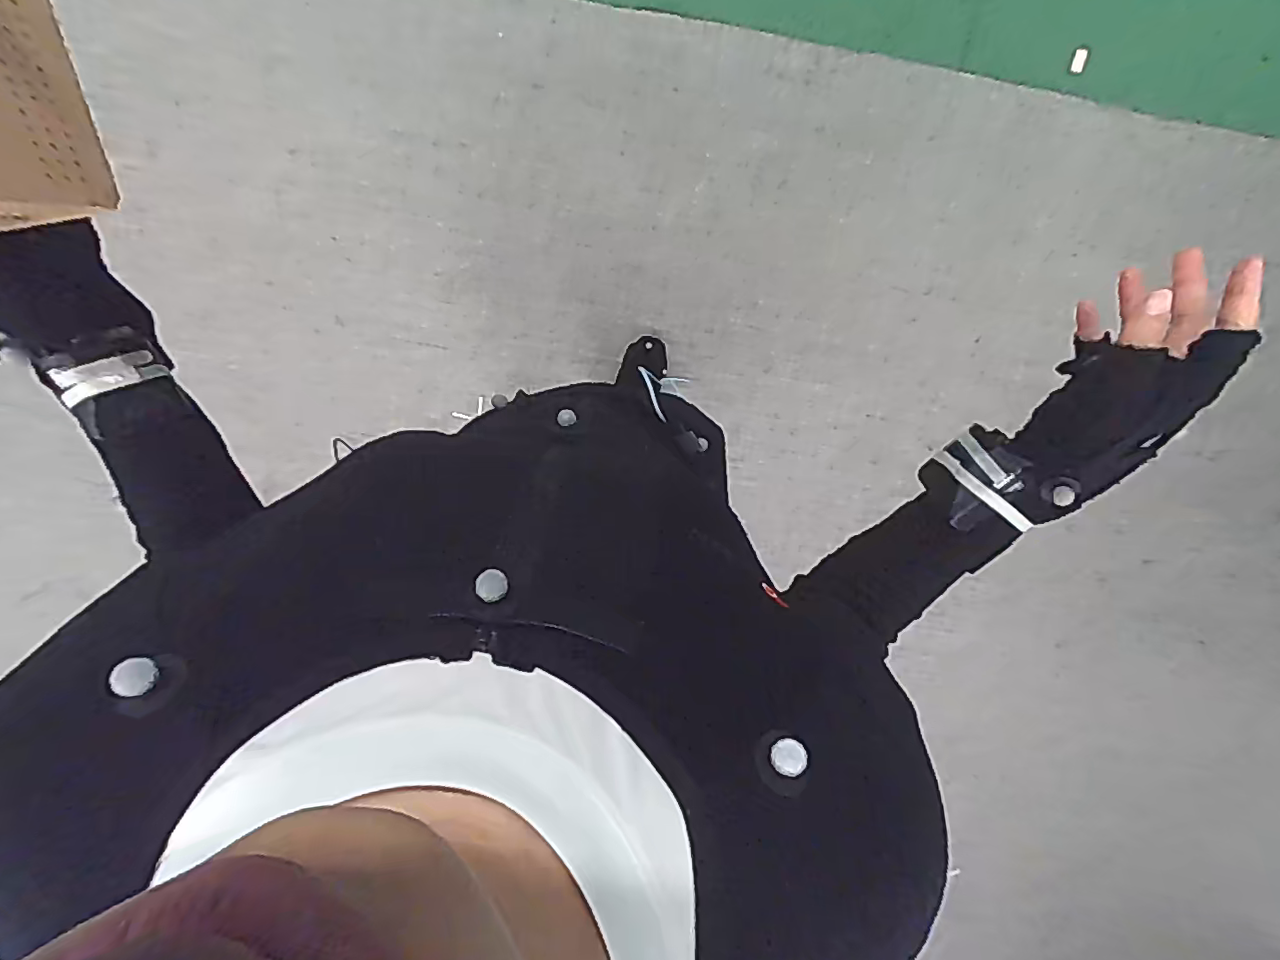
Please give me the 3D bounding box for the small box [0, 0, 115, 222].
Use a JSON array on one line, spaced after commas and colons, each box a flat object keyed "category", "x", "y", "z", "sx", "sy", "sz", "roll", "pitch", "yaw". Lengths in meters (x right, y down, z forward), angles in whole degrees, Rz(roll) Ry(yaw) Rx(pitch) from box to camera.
[{"category": "small box", "x": -0.367, "y": -0.199, "z": 0.200, "sx": 0.168, "sy": 0.176, "sz": 0.179, "roll": 5, "pitch": 113, "yaw": 21}]
